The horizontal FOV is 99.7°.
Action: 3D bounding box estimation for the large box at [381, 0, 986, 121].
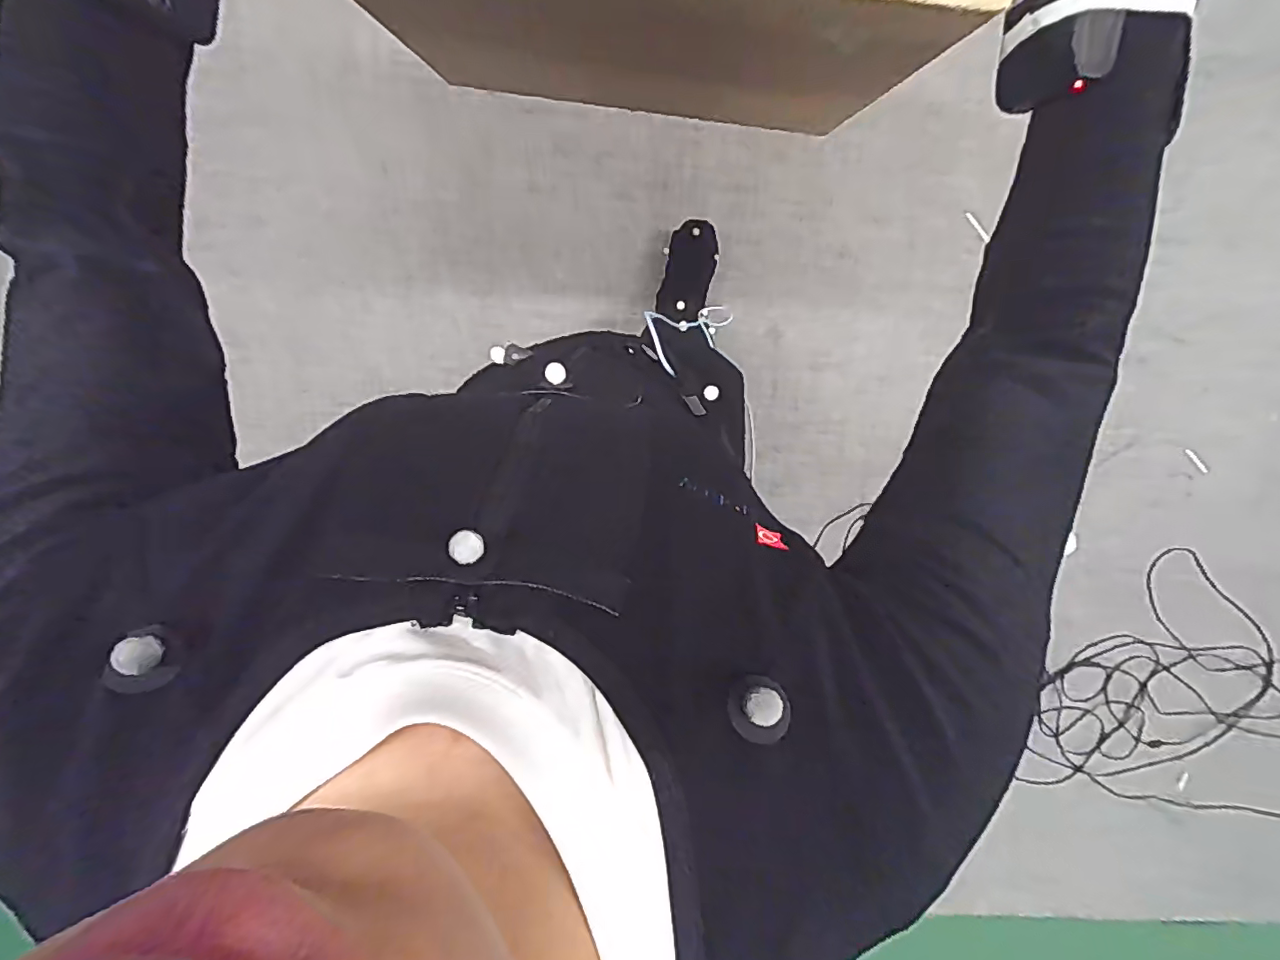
[{"bbox_3d":[0.019,-0.480,0.373,0.408,0.320,0.320,5,112,-3],"label":"large box"}]
